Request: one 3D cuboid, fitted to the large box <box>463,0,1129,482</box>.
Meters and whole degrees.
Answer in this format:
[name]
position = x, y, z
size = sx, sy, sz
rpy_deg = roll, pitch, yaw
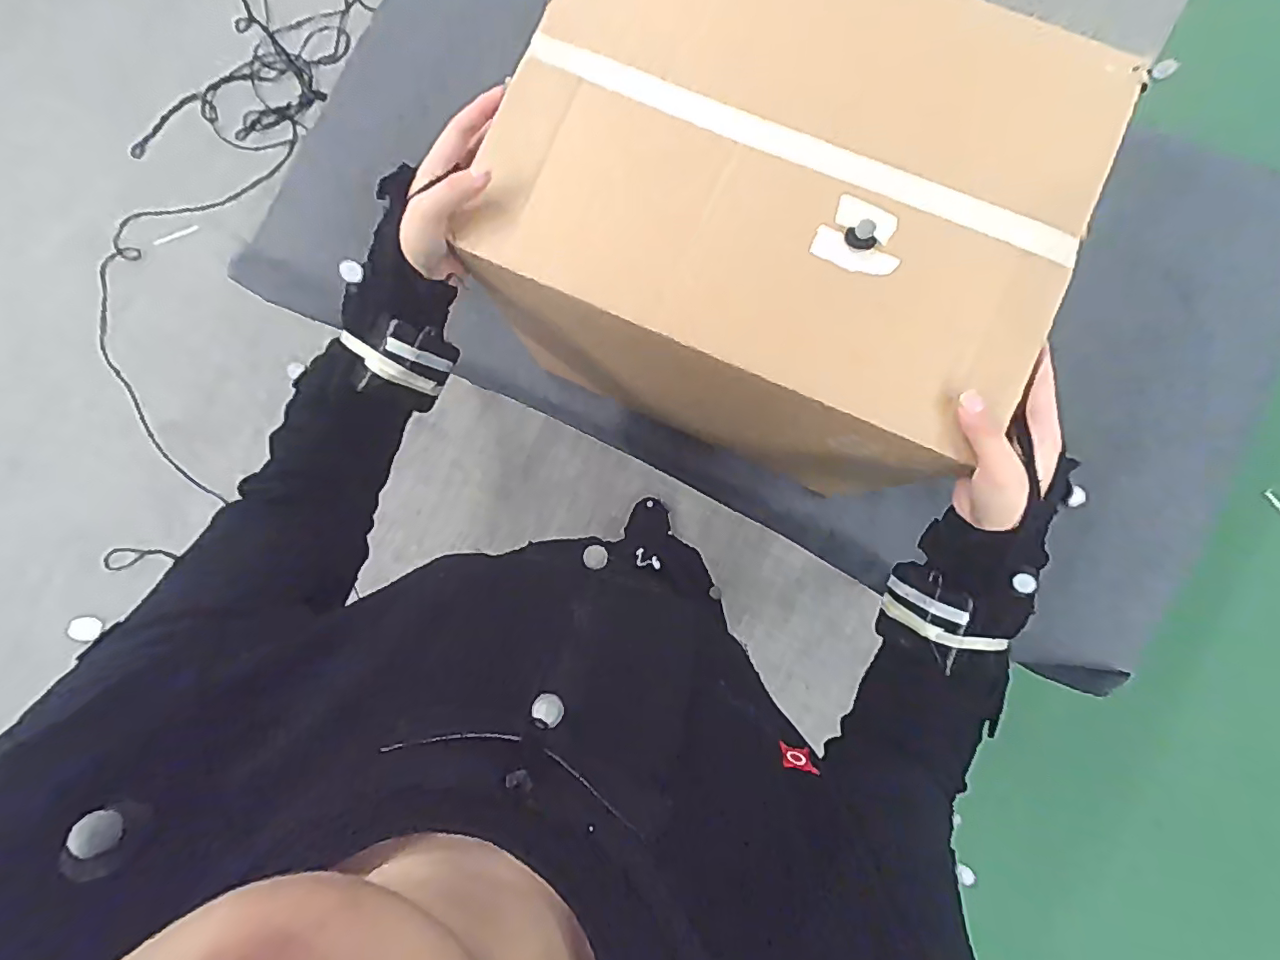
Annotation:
[large box]
position = 0.113, -0.223, 0.534
size = 0.408, 0.320, 0.320
rpy_deg = 24, 87, 3
